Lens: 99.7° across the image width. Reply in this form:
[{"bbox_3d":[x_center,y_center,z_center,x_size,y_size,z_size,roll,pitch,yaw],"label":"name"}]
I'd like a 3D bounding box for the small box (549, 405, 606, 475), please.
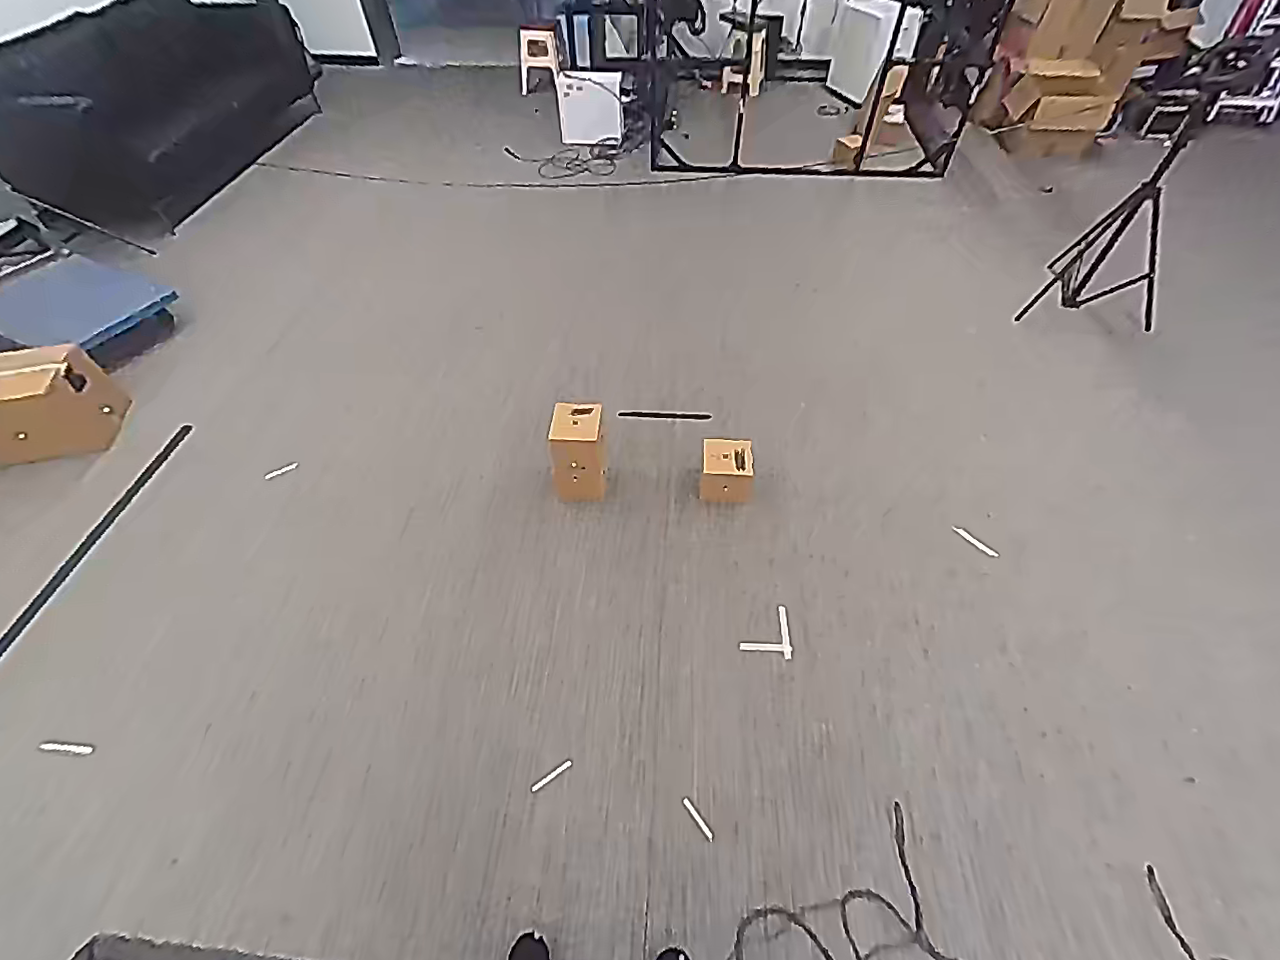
[{"bbox_3d":[-0.212,-0.140,1.888,0.168,0.176,0.179,2,52,4],"label":"small box"}]

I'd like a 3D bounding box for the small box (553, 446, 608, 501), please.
[{"bbox_3d":[-0.215,-0.035,2.014,0.179,0.176,0.168,2,52,3],"label":"small box"}]
